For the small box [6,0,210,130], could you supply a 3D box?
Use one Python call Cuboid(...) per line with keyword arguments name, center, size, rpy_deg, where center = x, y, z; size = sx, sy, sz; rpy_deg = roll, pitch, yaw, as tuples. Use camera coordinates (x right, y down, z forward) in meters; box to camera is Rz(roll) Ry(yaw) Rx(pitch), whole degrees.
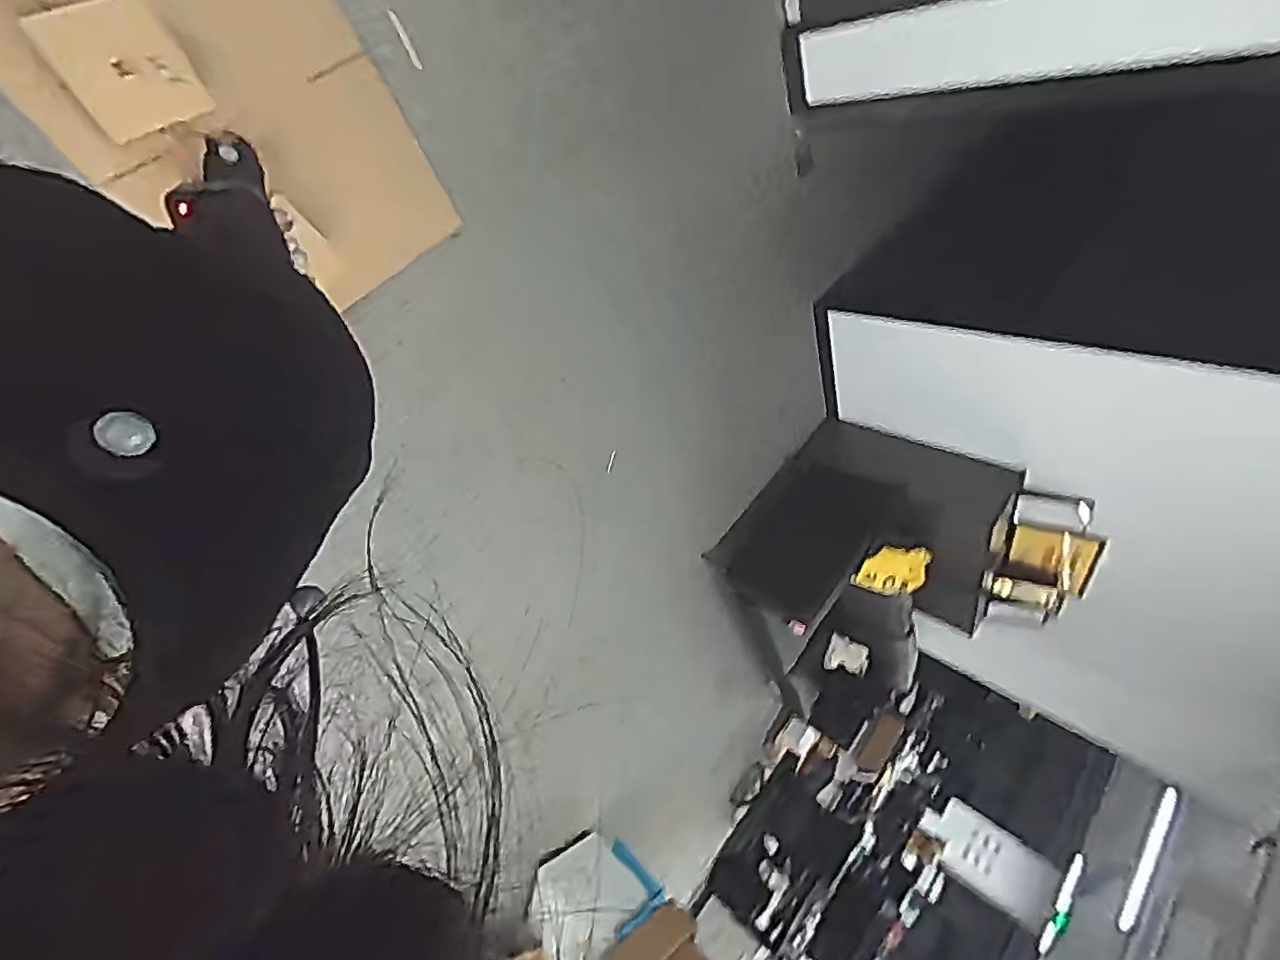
Cuboid(name="small box", center=(-0.877, -0.706, 0.904), size=(0.179, 0.176, 0.168), rpy_deg=(-42, 137, -24))
